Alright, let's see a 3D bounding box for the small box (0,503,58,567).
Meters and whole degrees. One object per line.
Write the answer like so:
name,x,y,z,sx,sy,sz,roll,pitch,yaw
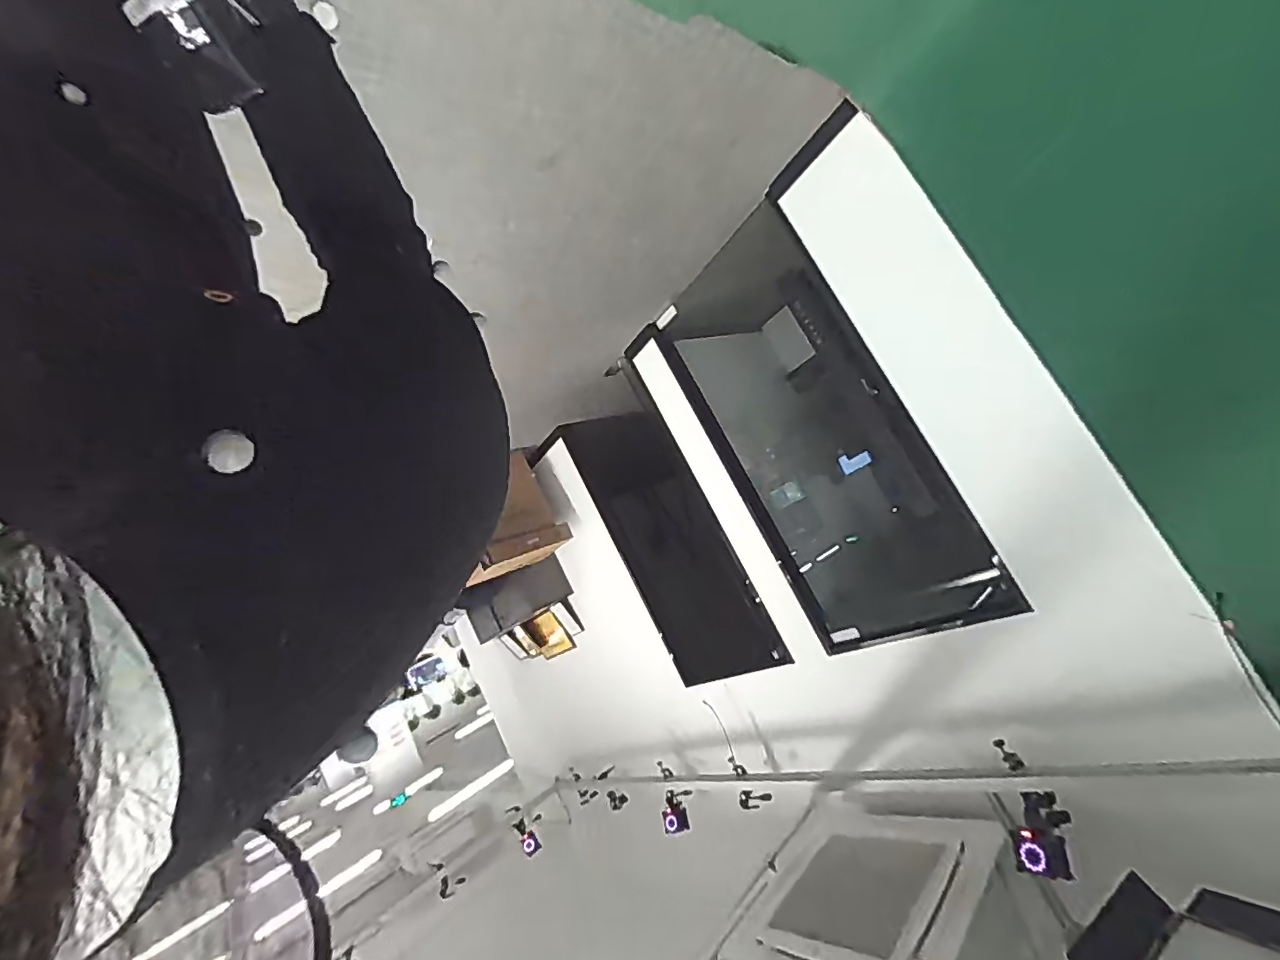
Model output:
small box,-2.345,0.204,2.030,0.168,0.176,0.179,-20,169,-40
